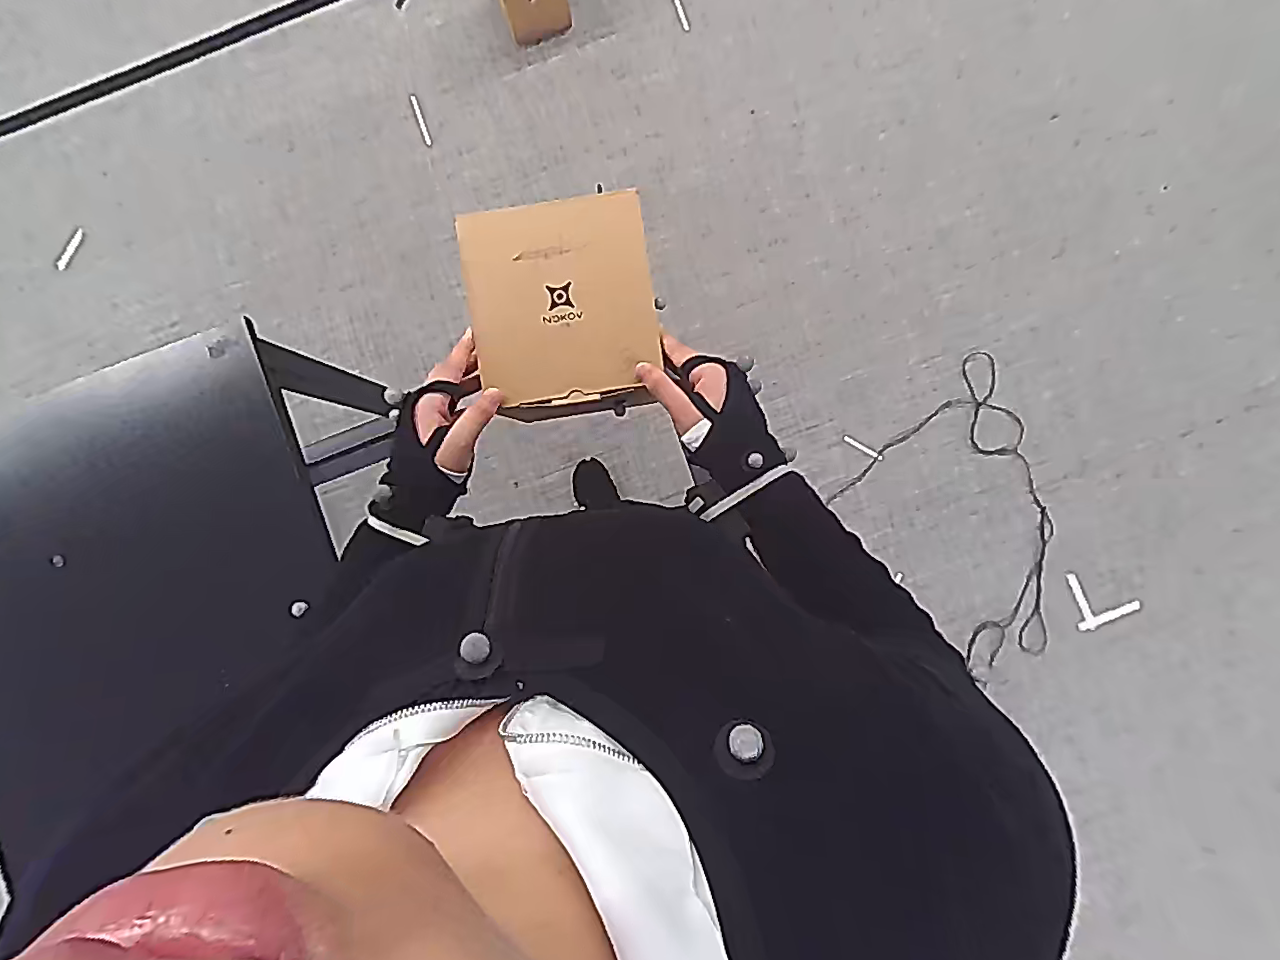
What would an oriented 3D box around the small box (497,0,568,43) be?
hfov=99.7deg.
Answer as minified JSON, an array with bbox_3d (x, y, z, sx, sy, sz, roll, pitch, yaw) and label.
[{"bbox_3d":[-0.308,-1.339,1.461,0.179,0.176,0.168,-20,89,0],"label":"small box"}]

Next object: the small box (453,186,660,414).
[{"bbox_3d":[-0.073,-0.166,0.559,0.168,0.176,0.179,-9,92,-1],"label":"small box"}]
